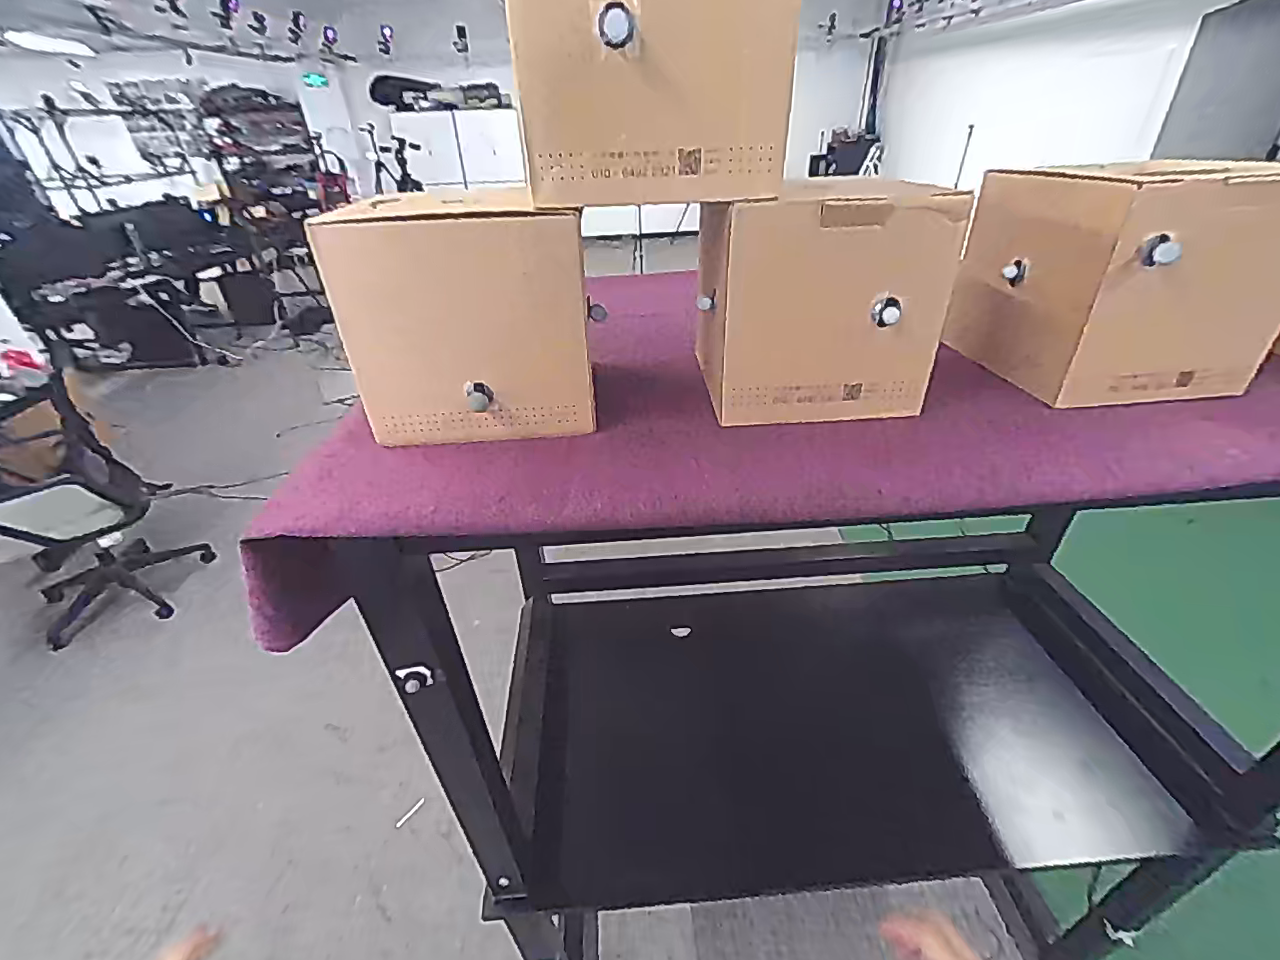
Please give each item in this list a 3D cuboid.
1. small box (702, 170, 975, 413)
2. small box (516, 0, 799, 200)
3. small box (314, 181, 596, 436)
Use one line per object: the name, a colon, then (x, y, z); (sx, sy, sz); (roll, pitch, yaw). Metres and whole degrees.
small box: (0.145, -0.164, 0.470); (0.168, 0.176, 0.179); (-2, 32, 0)
small box: (0.009, -0.296, 0.381); (0.168, 0.176, 0.179); (-3, 32, -2)
small box: (-0.127, -0.148, 0.457); (0.179, 0.176, 0.168); (-4, 33, -4)
